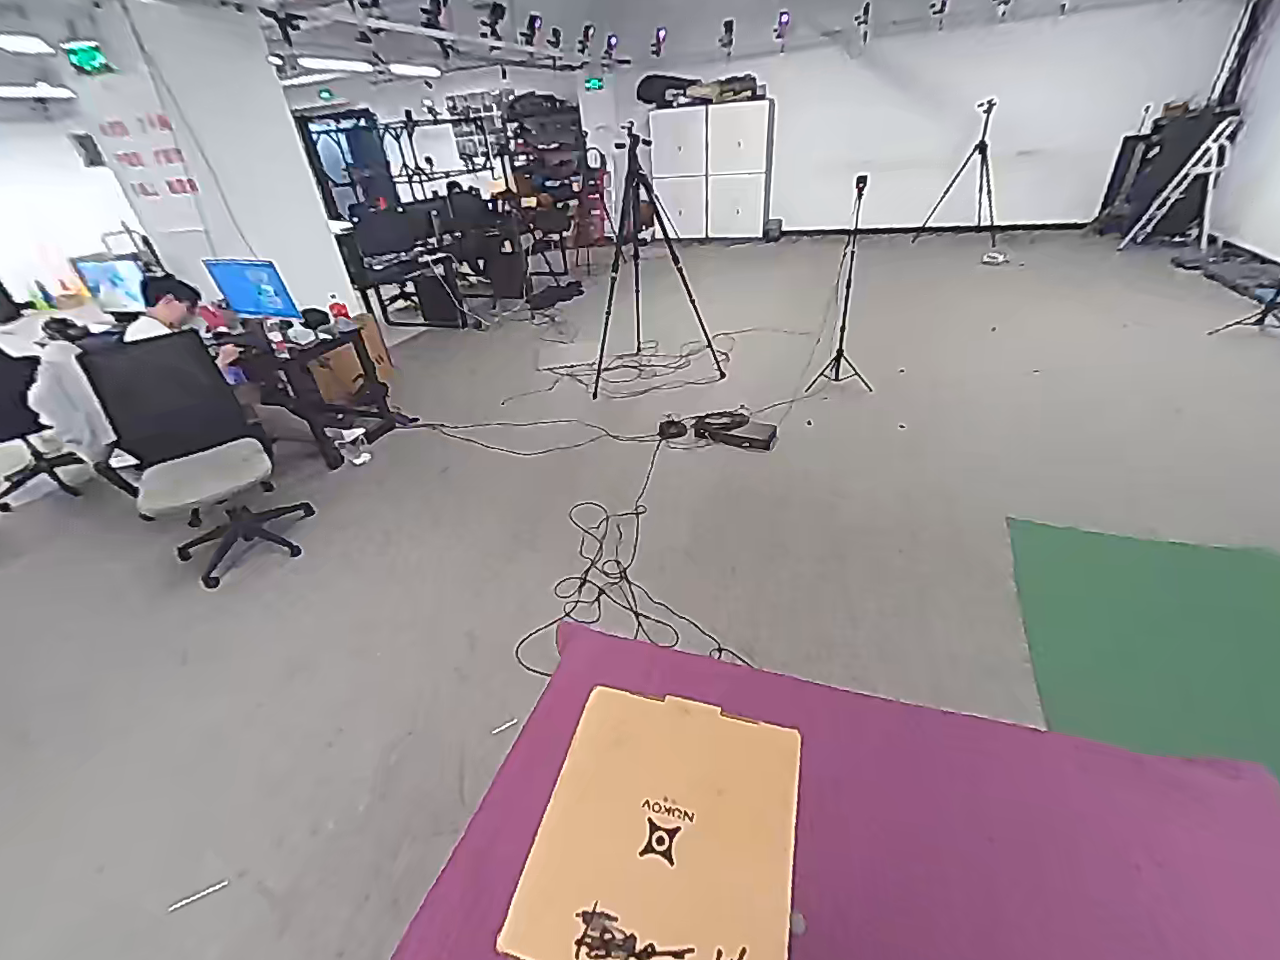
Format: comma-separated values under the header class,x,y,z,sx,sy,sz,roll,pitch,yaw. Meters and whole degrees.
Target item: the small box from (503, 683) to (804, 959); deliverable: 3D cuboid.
class,x,y,z,sx,sy,sz,roll,pitch,yaw
small box,0.026,0.290,0.406,0.168,0.176,0.179,6,39,17
